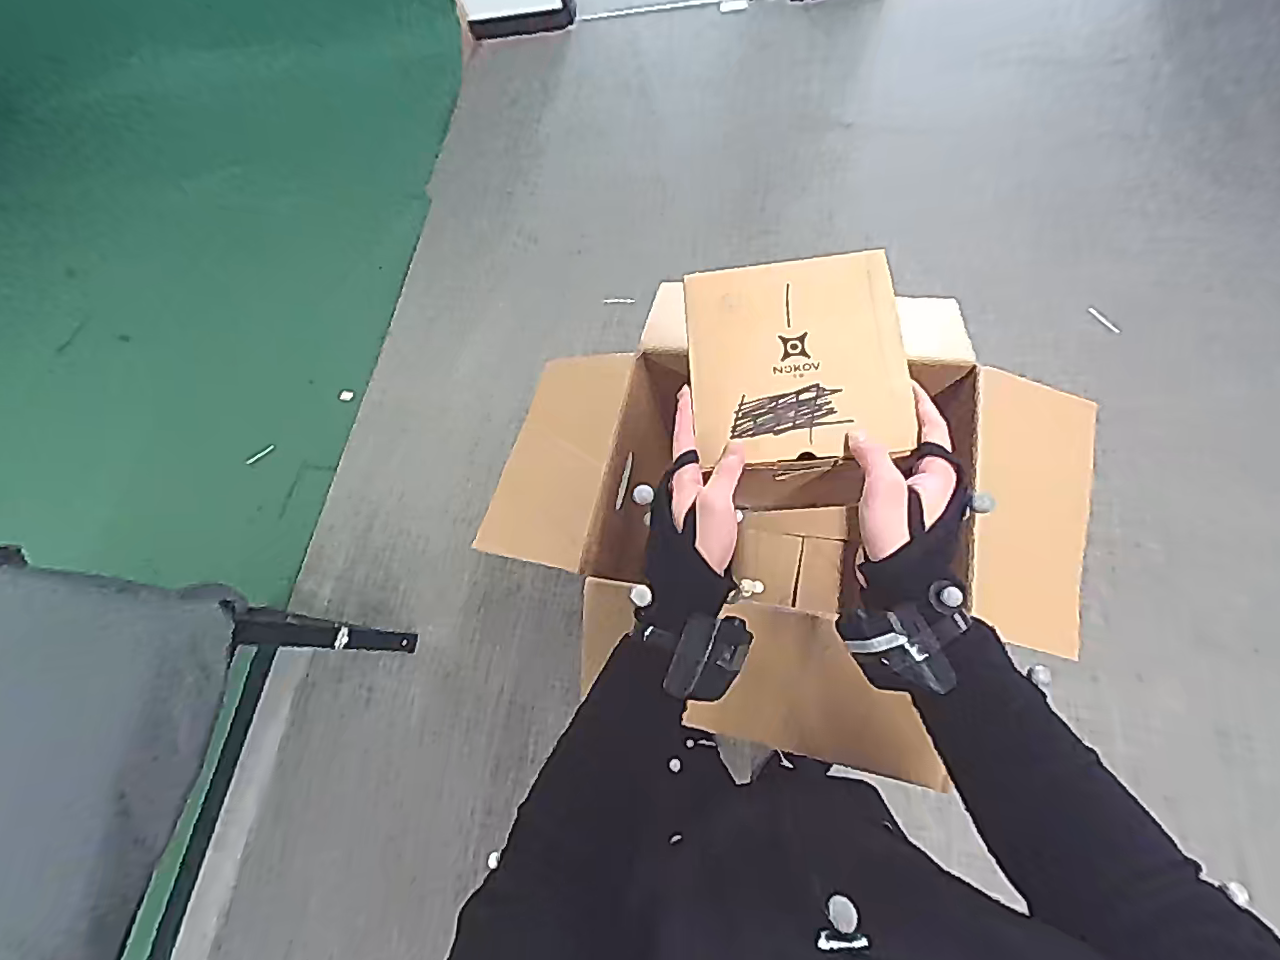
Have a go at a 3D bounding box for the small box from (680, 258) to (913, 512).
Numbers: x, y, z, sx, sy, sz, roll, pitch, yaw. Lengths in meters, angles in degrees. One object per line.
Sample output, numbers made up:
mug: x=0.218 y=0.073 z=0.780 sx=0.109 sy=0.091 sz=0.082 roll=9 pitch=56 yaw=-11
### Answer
small box: x=0.128 y=-0.070 z=0.500 sx=0.168 sy=0.176 sz=0.179 roll=-4 pitch=73 yaw=7
